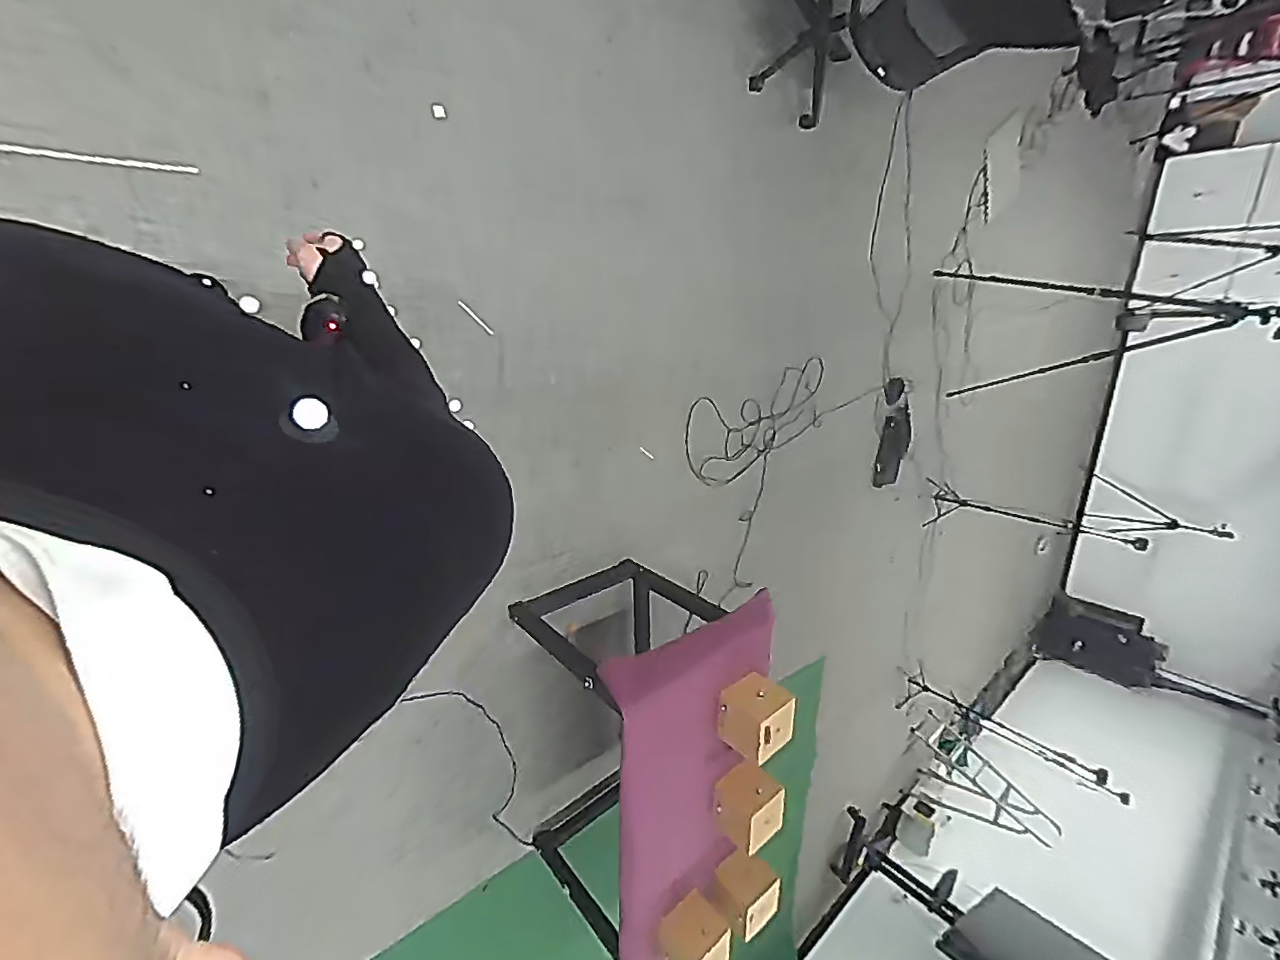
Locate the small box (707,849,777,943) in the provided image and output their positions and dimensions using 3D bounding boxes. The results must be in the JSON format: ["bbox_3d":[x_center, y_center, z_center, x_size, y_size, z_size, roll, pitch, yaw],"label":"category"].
[{"bbox_3d":[0.363,1.472,1.932,0.179,0.176,0.168,-14,111,-38],"label":"small box"}]

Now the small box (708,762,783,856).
[{"bbox_3d":[0.352,1.089,1.809,0.179,0.176,0.168,-13,111,-38],"label":"small box"}]

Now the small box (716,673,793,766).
[{"bbox_3d":[0.356,0.747,1.704,0.179,0.176,0.168,-15,113,-38],"label":"small box"}]

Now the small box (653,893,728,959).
[{"bbox_3d":[0.164,1.518,1.767,0.179,0.176,0.168,-12,110,-40],"label":"small box"}]
